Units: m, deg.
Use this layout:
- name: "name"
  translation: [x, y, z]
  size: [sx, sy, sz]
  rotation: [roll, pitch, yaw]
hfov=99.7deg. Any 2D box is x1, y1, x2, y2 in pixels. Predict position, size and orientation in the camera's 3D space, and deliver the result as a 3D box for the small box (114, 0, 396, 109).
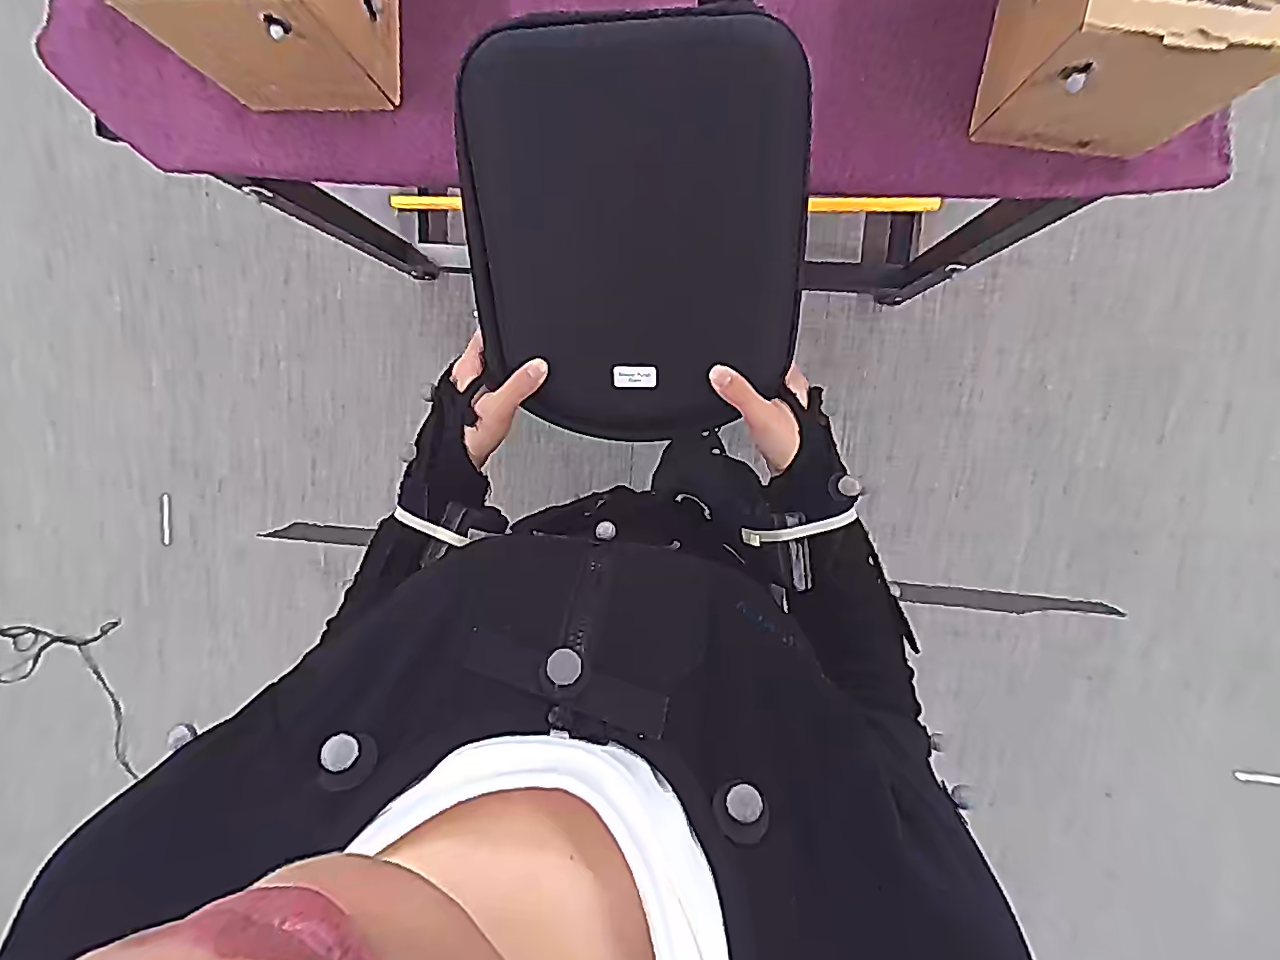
- name: "small box"
  translation: [-0.360, -0.488, 0.519]
  size: [0.179, 0.176, 0.168]
  rotation: [2, 96, 3]
